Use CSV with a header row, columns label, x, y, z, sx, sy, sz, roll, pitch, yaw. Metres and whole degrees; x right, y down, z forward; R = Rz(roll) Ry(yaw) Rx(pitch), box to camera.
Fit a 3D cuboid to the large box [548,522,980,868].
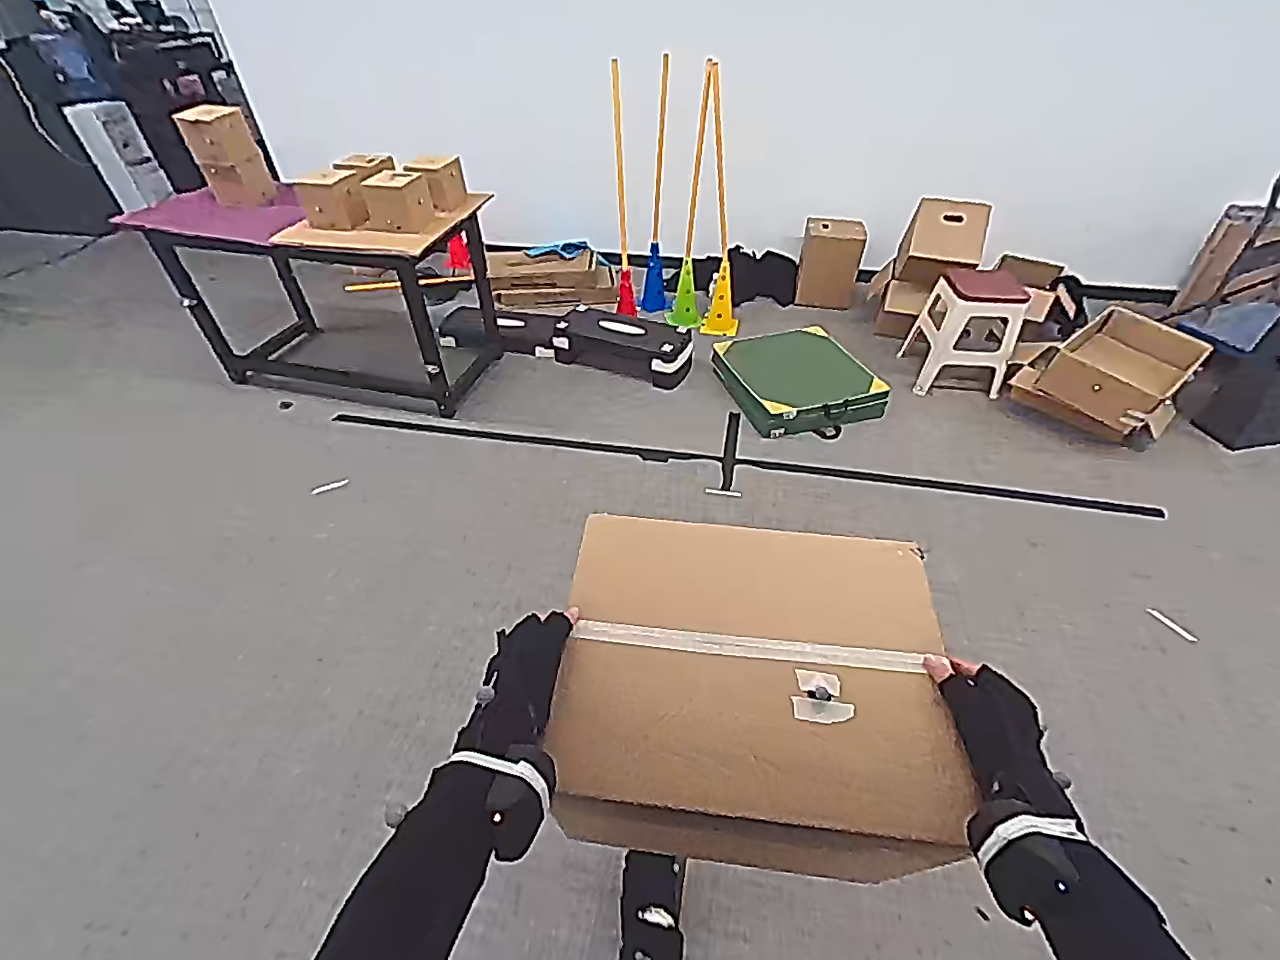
label,x,y,z,sx,sy,sz,roll,pitch,yaw
large box,0.123,0.280,0.702,0.408,0.320,0.320,5,50,5
